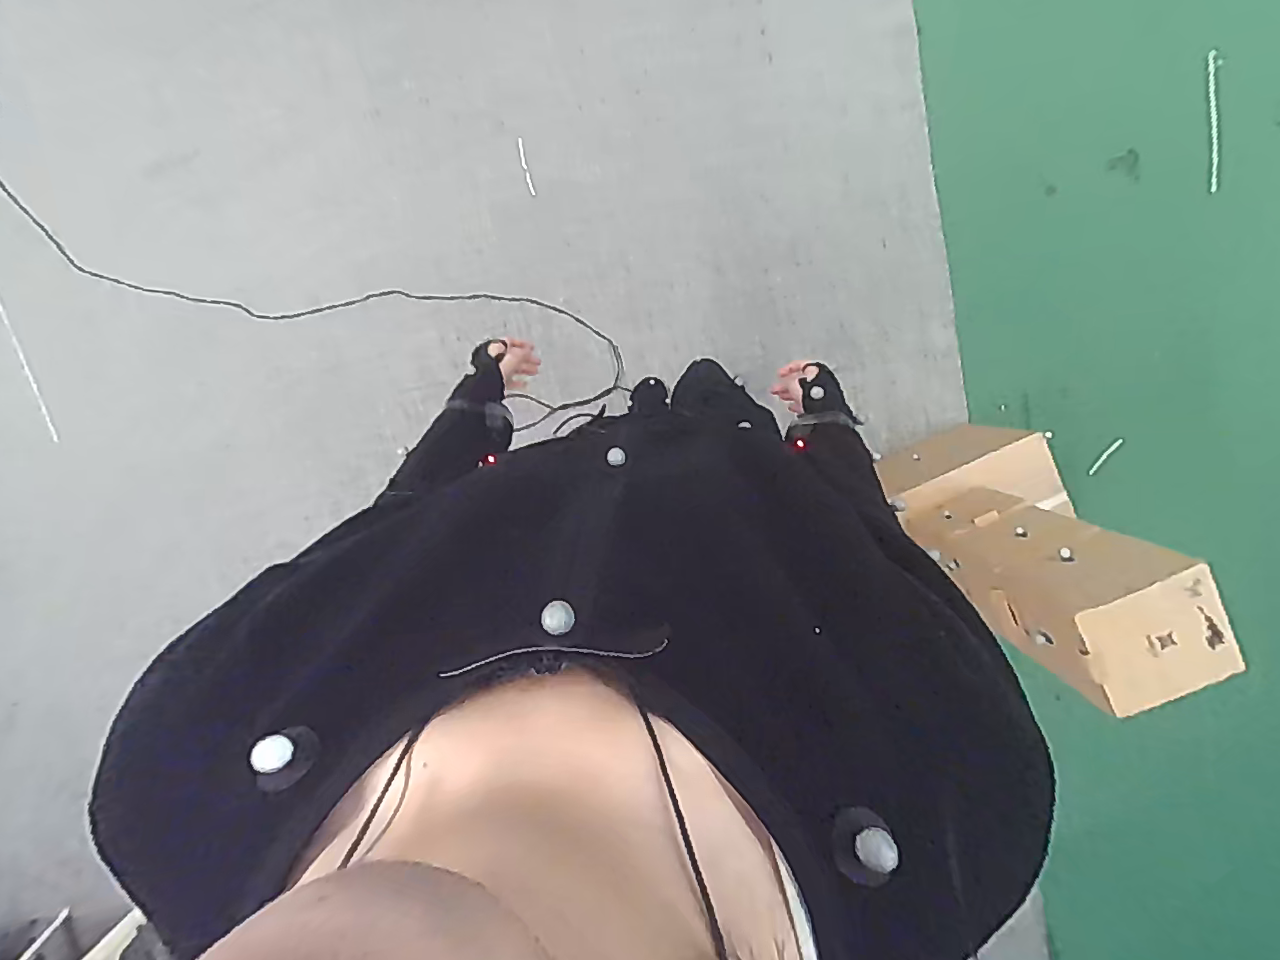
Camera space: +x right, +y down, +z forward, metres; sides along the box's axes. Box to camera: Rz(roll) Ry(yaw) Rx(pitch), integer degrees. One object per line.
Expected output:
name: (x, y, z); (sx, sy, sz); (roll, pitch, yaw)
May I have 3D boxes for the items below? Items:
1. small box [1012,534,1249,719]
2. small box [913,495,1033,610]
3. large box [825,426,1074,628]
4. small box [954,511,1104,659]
small box: (0.678, 0.199, 0.777); (0.179, 0.176, 0.168); (-26, 97, 8)
small box: (0.691, 0.142, 1.100); (0.168, 0.176, 0.179); (-25, 97, 6)
large box: (0.744, 0.096, 1.337); (0.408, 0.320, 0.320); (-26, 98, 5)
small box: (0.682, 0.172, 0.939); (0.179, 0.176, 0.168); (-27, 97, 6)
